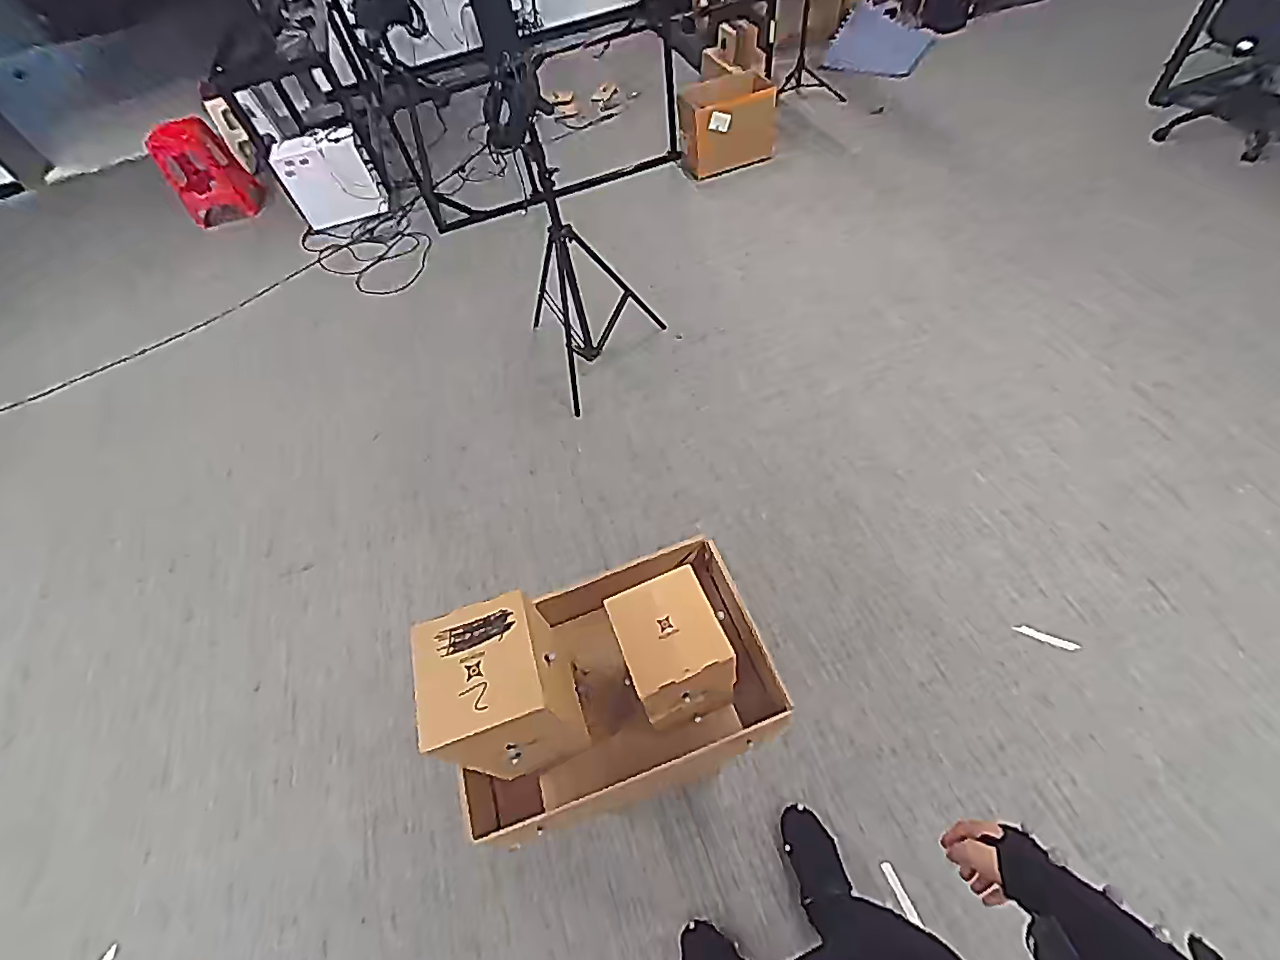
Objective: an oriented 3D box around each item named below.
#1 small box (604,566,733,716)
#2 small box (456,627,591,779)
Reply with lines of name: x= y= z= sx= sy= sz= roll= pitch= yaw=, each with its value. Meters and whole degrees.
small box: x=0.051 y=0.287 z=0.953 sx=0.168 sy=0.176 sz=0.179 roll=-23 pitch=56 yaw=-6
small box: x=-0.197 y=0.386 z=0.928 sx=0.168 sy=0.176 sz=0.179 roll=-21 pitch=54 yaw=-4
